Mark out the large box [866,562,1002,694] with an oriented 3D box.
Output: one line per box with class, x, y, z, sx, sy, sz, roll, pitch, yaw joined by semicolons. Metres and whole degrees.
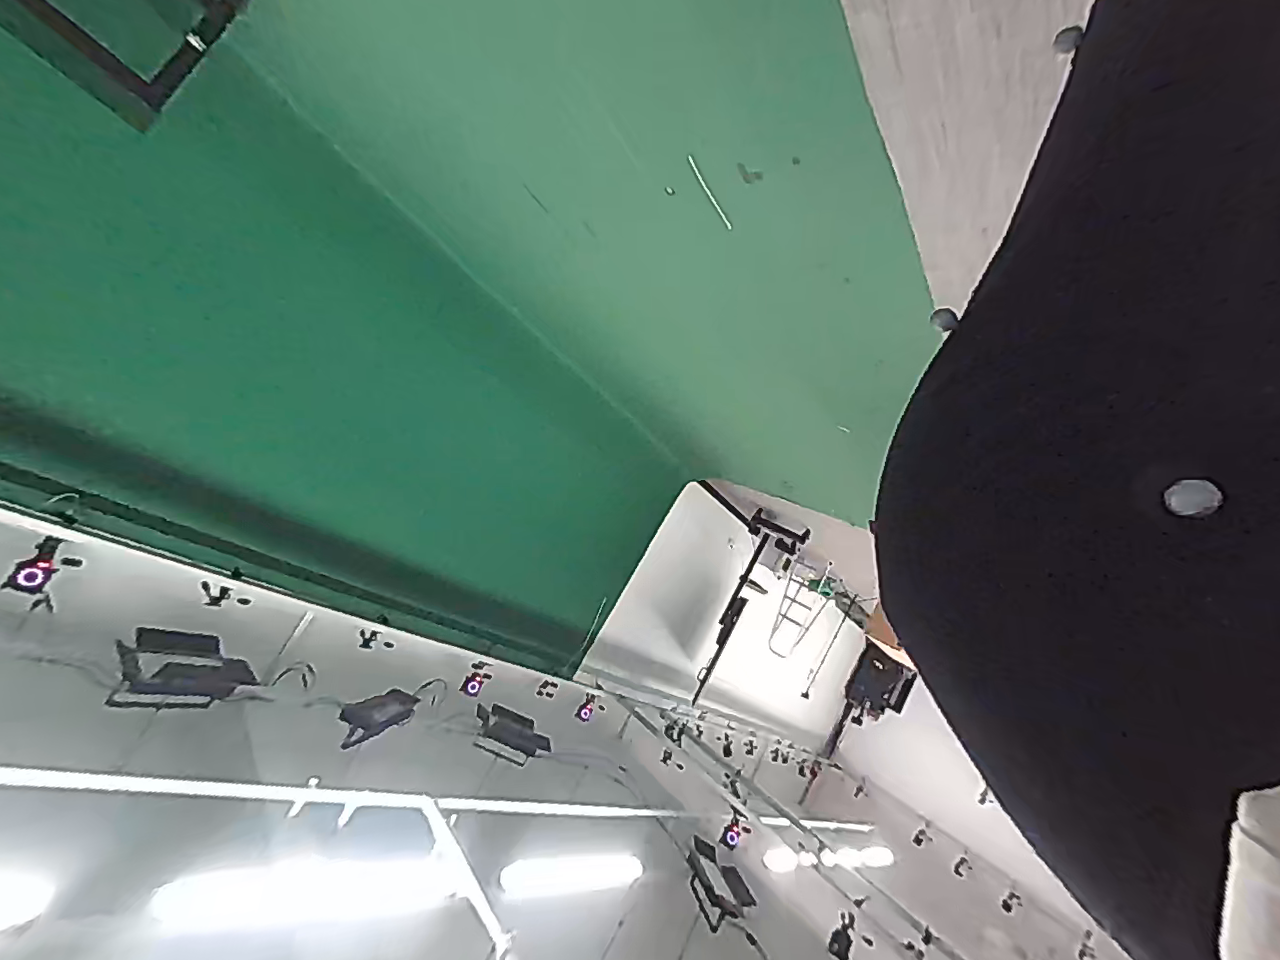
large box;1.126;0.560;2.053;0.320;0.320;0.408;19;166;45
